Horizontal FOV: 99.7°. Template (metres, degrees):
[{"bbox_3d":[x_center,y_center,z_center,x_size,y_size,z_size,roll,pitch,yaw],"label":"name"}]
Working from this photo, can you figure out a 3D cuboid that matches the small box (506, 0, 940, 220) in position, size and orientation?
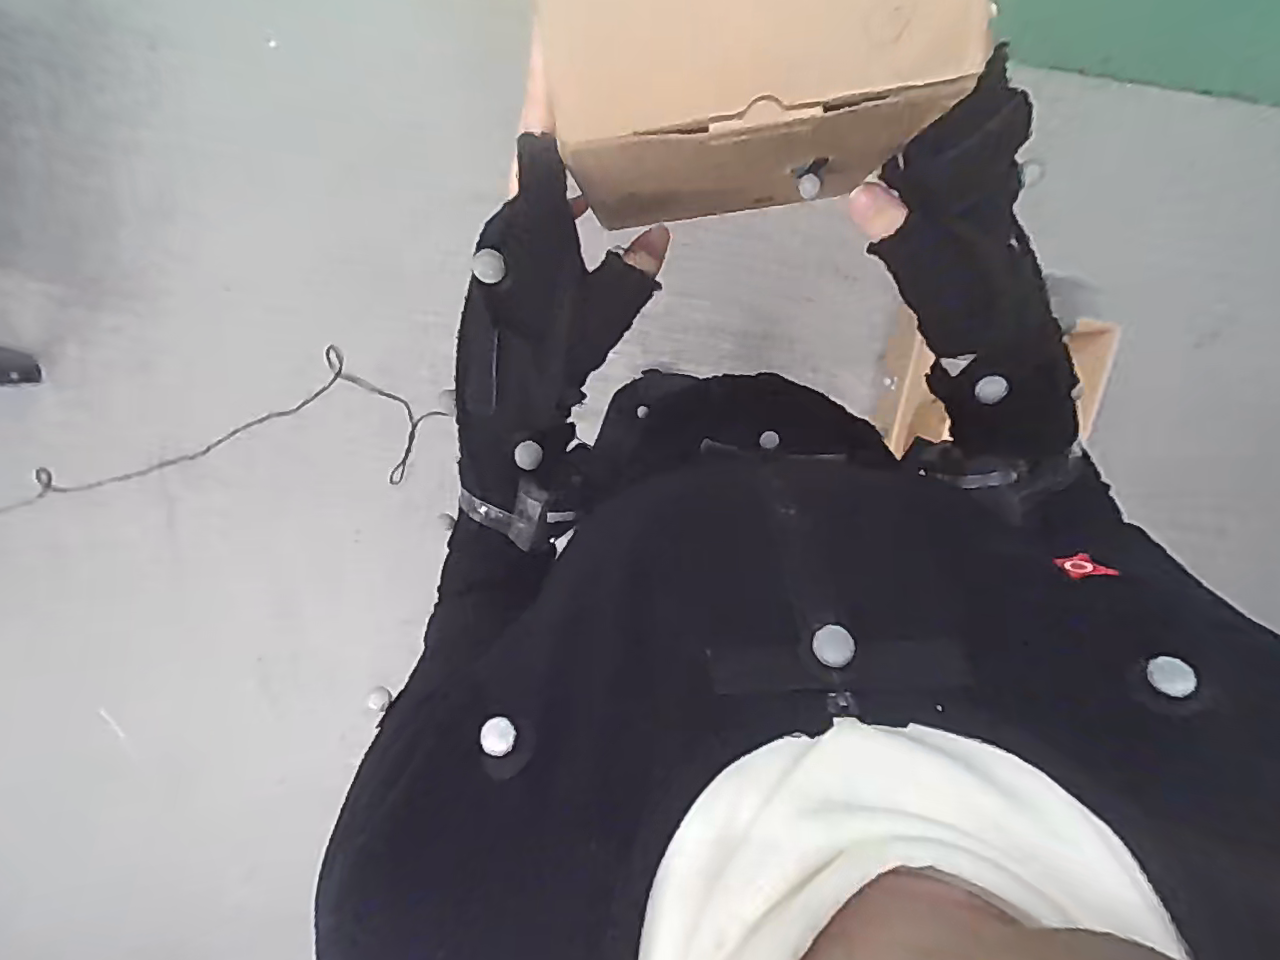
[{"bbox_3d":[0.029,-0.244,0.273,0.168,0.176,0.179,-7,104,4],"label":"small box"}]

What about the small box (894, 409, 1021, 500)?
[{"bbox_3d":[0.716,-0.067,1.245,0.179,0.176,0.168,12,103,2],"label":"small box"}]
